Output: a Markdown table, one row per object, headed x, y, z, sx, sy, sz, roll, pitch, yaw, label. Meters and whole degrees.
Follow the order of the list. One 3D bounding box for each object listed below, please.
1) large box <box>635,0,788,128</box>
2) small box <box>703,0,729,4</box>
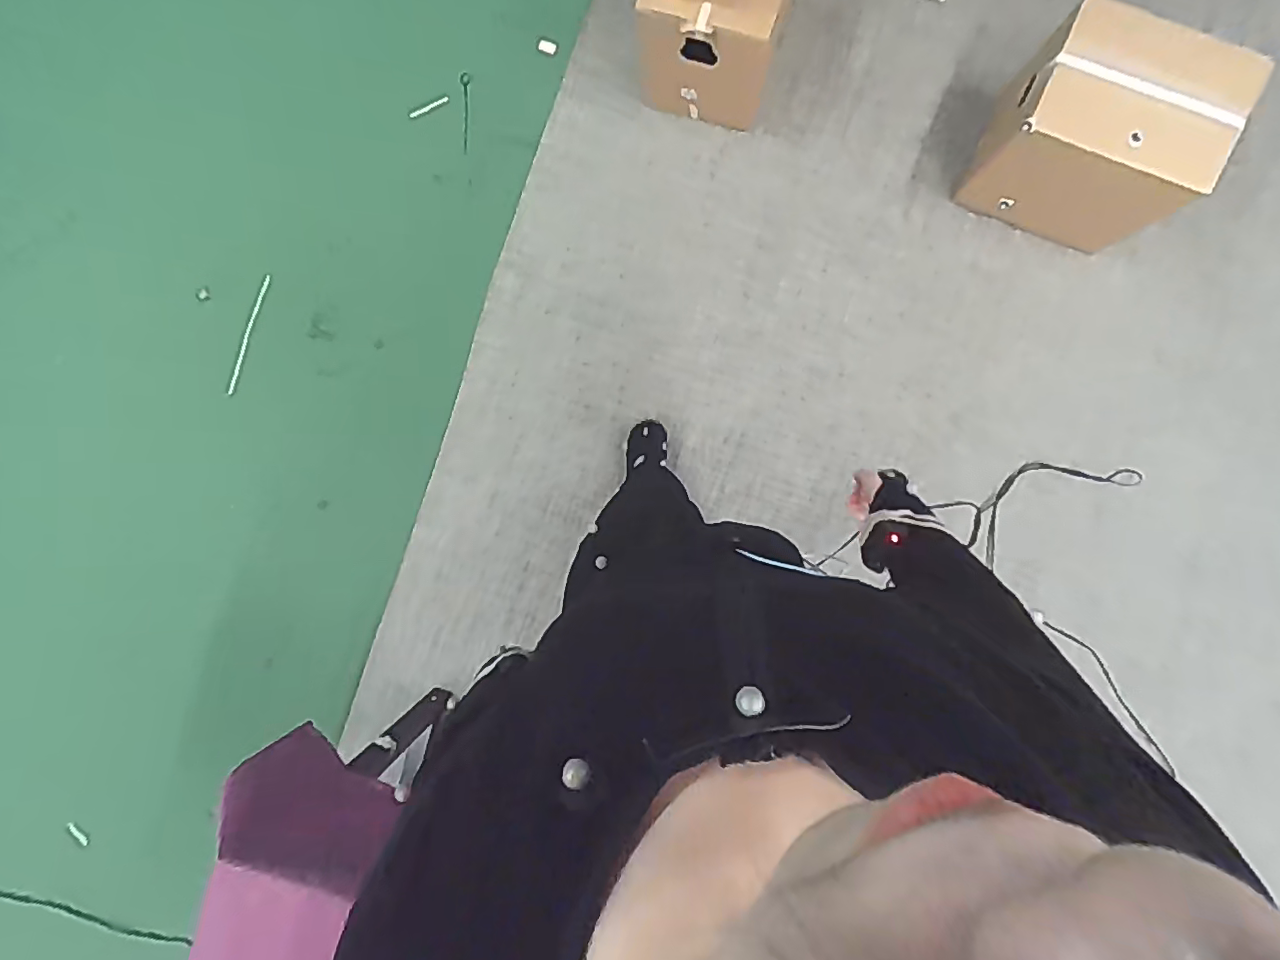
| x | y | z | sx | sy | sz | roll | pitch | yaw | label |
| --- | --- | --- | --- | --- | --- | --- | --- | --- | --- |
| 0.198 | -1.192 | 1.347 | 0.320 | 0.320 | 0.408 | 18 | 90 | 4 | large box |
| 0.145 | -1.132 | 1.105 | 0.179 | 0.176 | 0.168 | 16 | 90 | 5 | small box |
